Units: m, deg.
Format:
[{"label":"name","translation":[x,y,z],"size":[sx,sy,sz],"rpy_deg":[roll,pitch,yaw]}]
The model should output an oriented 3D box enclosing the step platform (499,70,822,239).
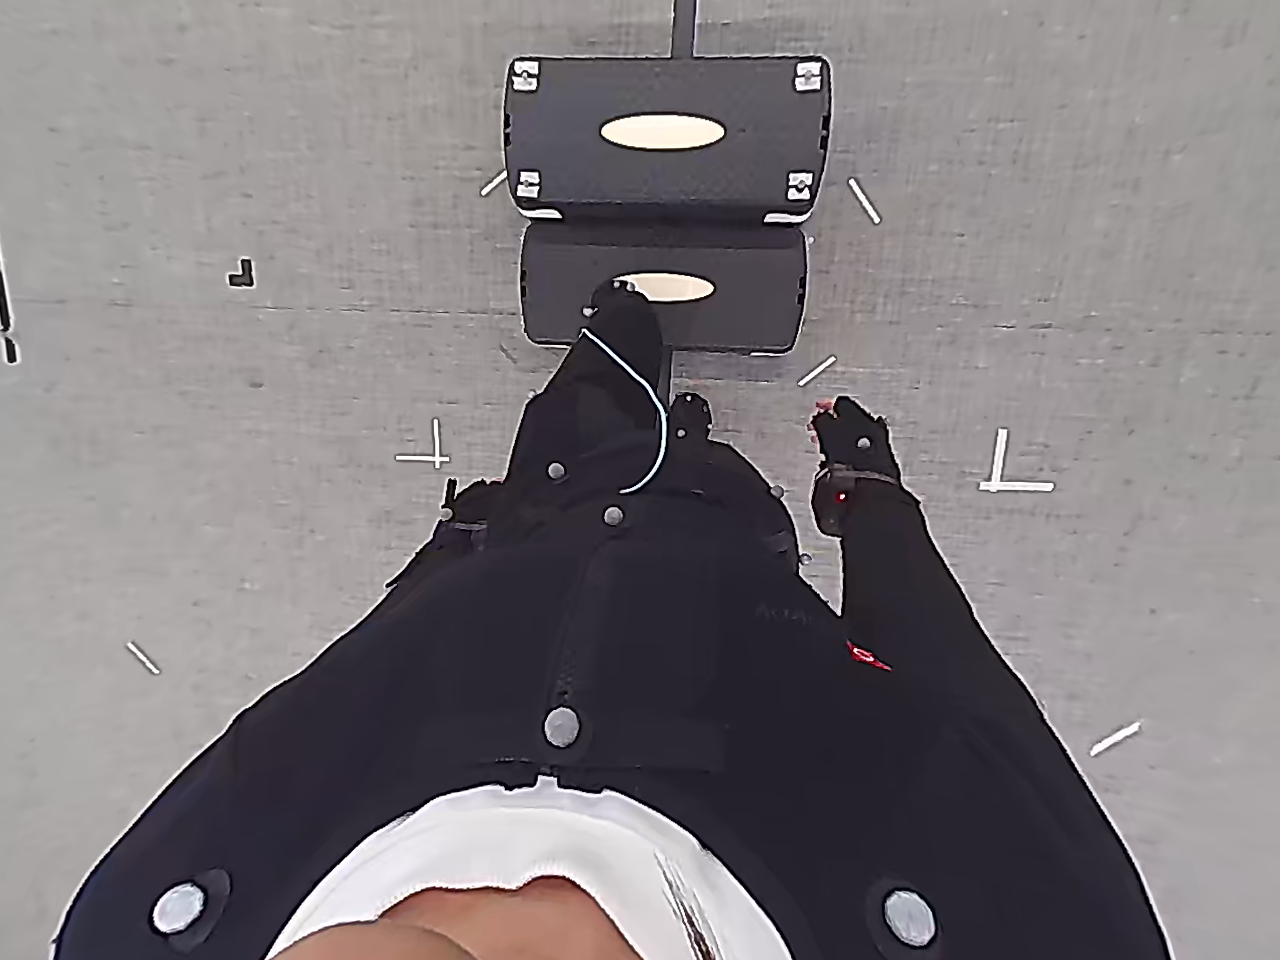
[{"label":"step platform","translation":[0.041,-0.703,1.190],"size":[0.684,0.204,0.286],"rpy_deg":[2,104,4]}]
